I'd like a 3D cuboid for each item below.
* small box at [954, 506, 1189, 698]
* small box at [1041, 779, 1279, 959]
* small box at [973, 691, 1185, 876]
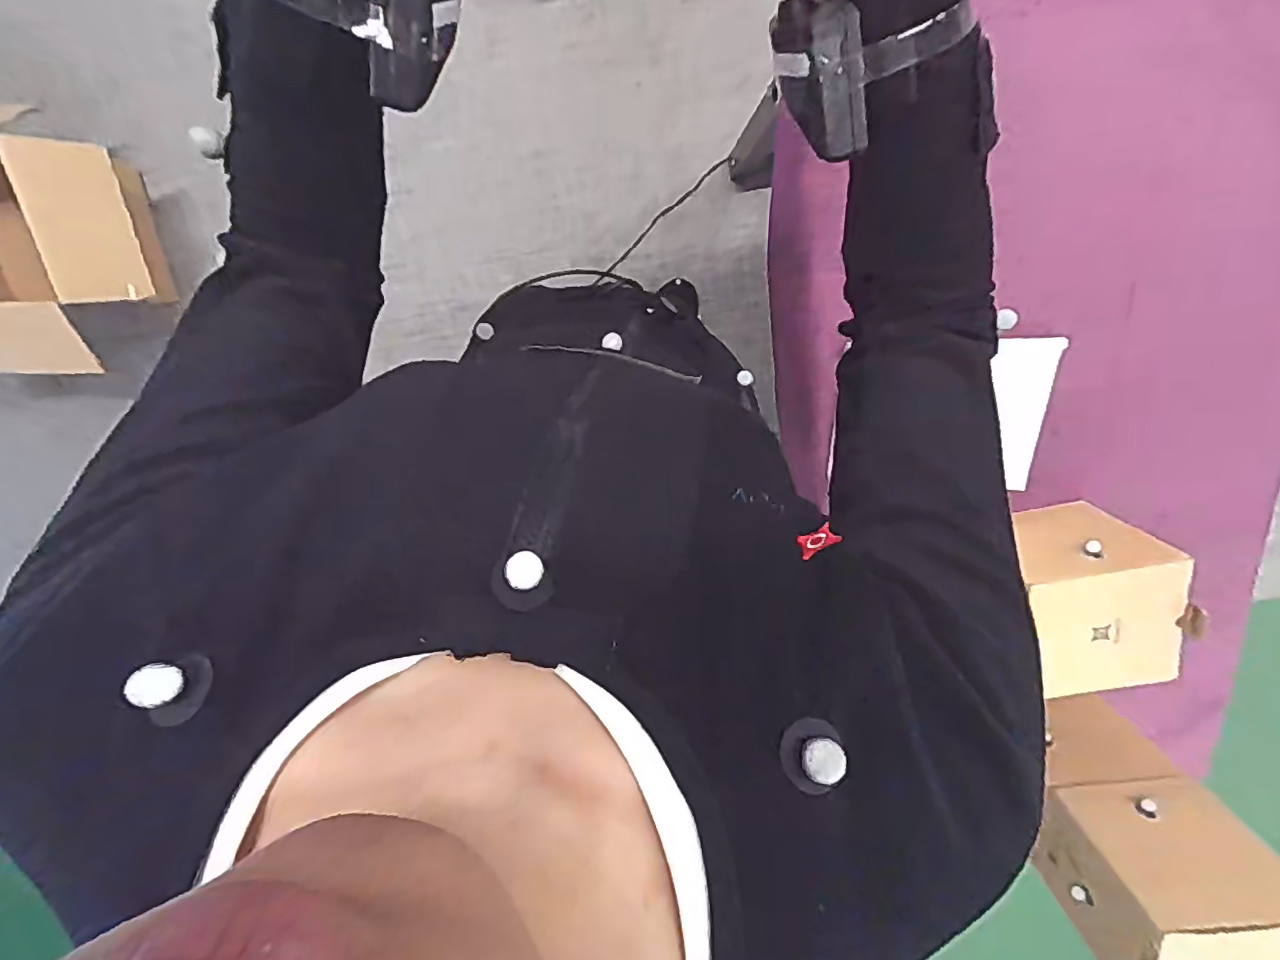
[{"bbox_3d":[0.533,0.148,0.699,0.179,0.176,0.168,-11,109,4],"label":"small box"},{"bbox_3d":[0.621,0.488,0.642,0.179,0.176,0.168,-8,110,5],"label":"small box"},{"bbox_3d":[0.626,0.438,0.799,0.179,0.176,0.168,-8,110,3],"label":"small box"}]
